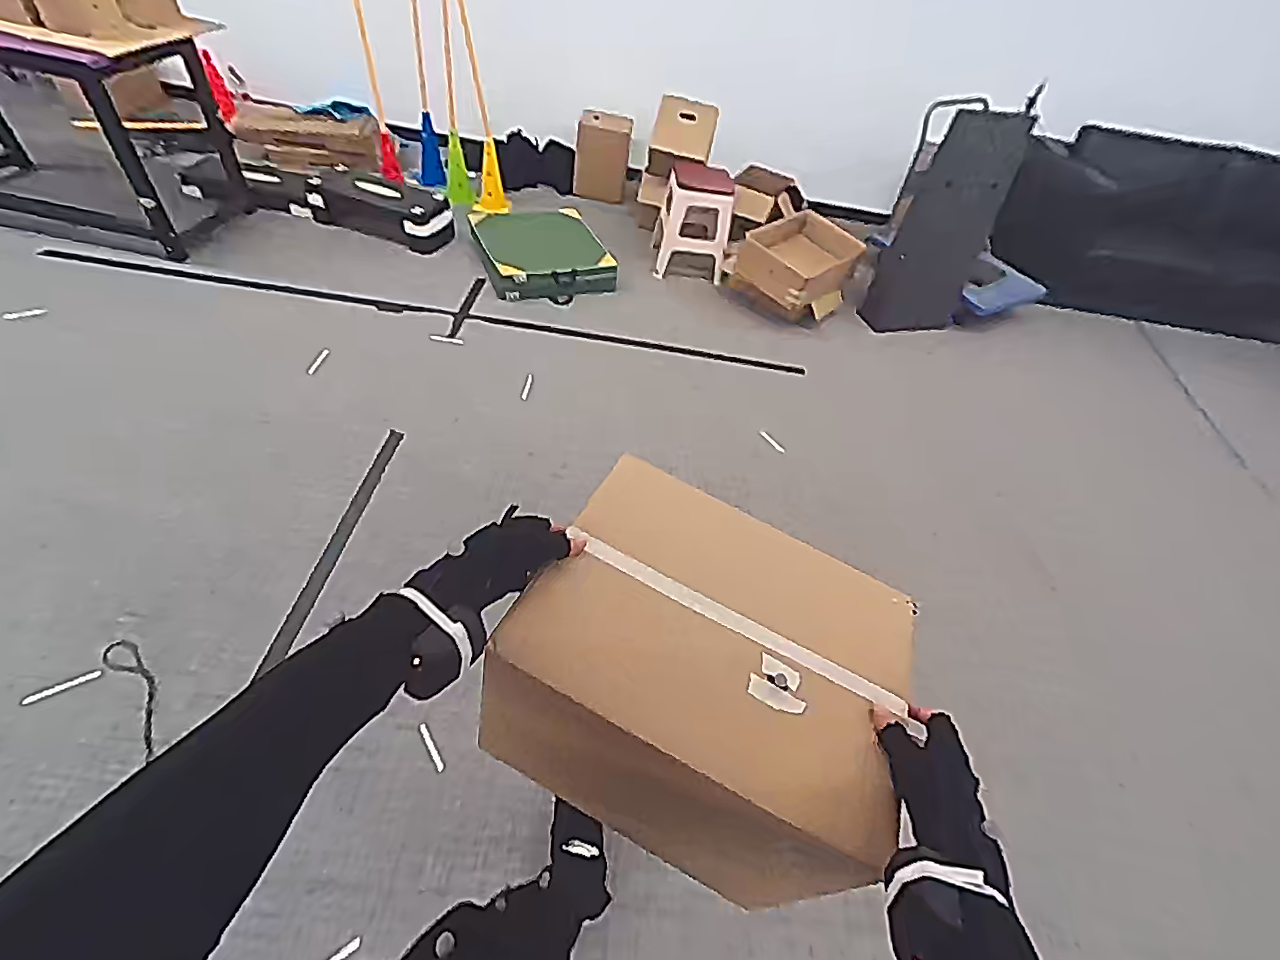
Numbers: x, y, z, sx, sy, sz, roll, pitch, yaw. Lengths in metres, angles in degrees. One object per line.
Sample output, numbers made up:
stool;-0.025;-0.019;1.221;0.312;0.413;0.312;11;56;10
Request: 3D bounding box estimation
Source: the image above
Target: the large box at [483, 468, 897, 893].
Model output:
large box;0.054;0.257;0.708;0.408;0.320;0.320;27;47;6
